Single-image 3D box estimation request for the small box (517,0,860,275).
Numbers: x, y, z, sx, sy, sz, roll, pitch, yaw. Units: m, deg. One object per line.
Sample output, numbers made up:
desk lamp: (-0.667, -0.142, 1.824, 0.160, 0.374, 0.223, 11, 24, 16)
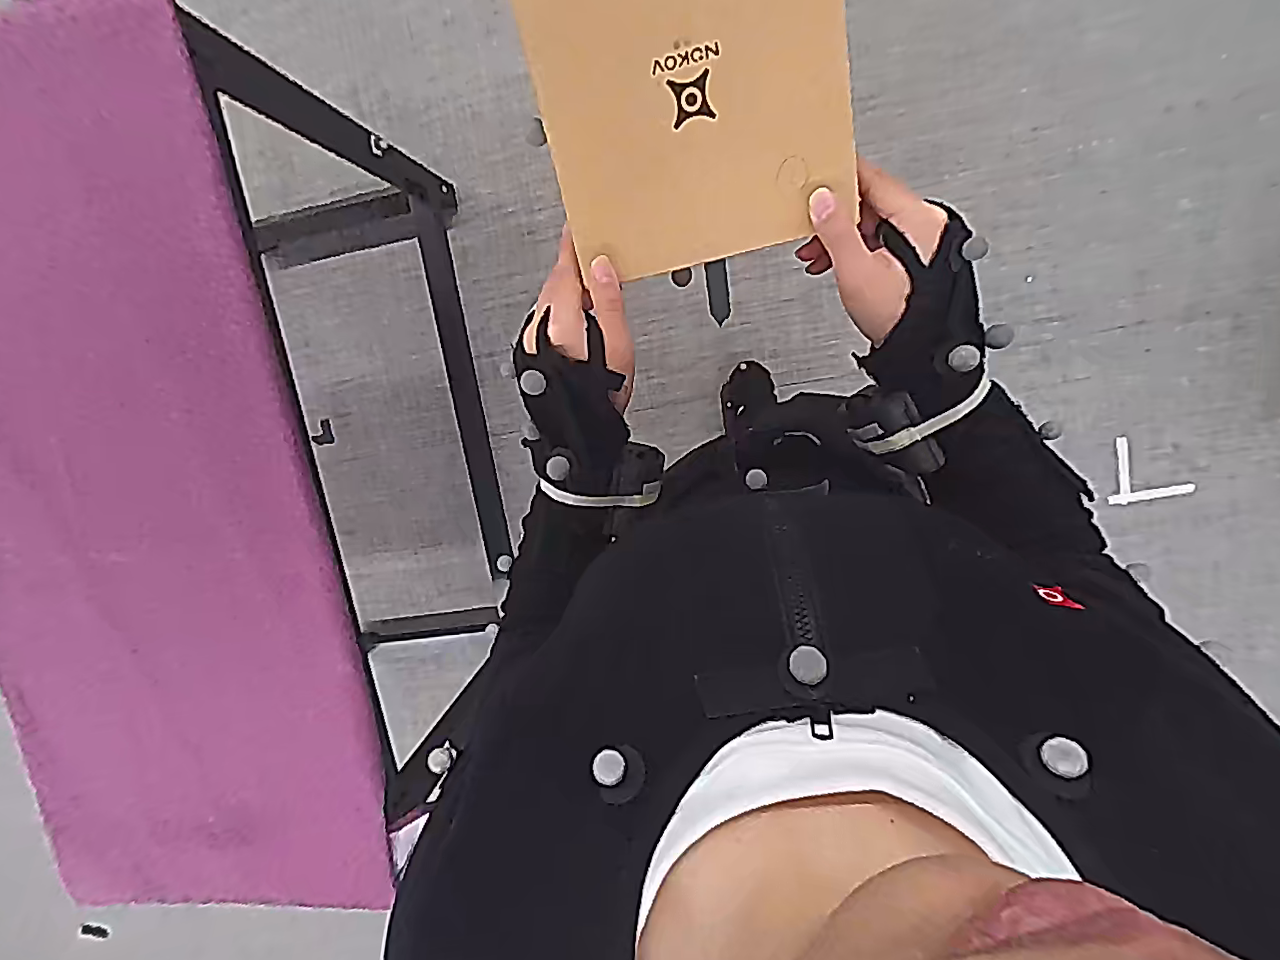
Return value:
small box: (0.032, -0.248, 0.358, 0.168, 0.176, 0.179, -11, 111, 8)
